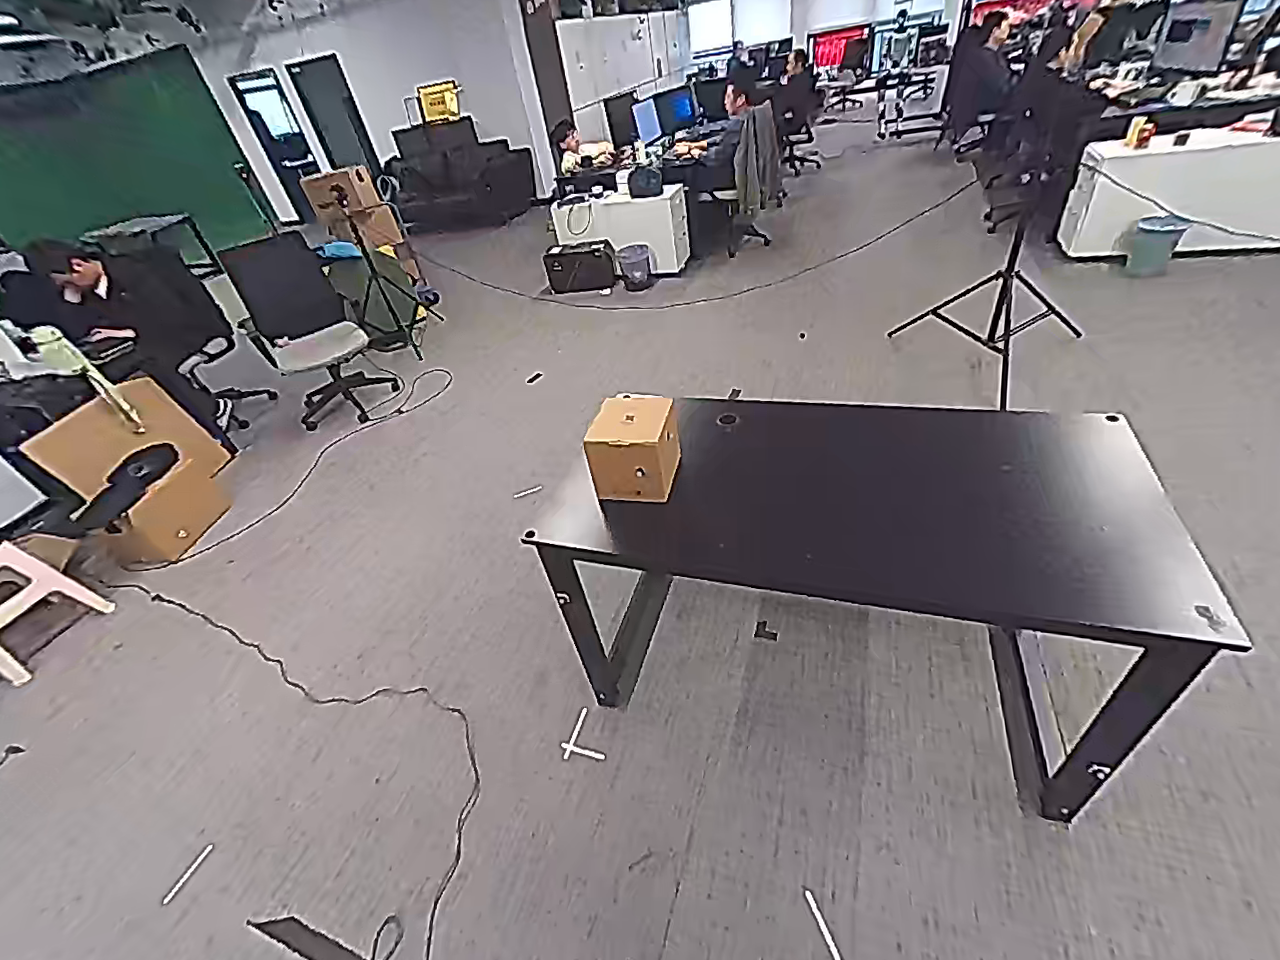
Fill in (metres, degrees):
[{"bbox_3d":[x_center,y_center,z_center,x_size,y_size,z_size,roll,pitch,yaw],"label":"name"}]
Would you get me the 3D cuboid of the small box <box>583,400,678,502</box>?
[{"bbox_3d":[-0.012,-0.067,1.232,0.168,0.176,0.179,3,40,16],"label":"small box"}]
